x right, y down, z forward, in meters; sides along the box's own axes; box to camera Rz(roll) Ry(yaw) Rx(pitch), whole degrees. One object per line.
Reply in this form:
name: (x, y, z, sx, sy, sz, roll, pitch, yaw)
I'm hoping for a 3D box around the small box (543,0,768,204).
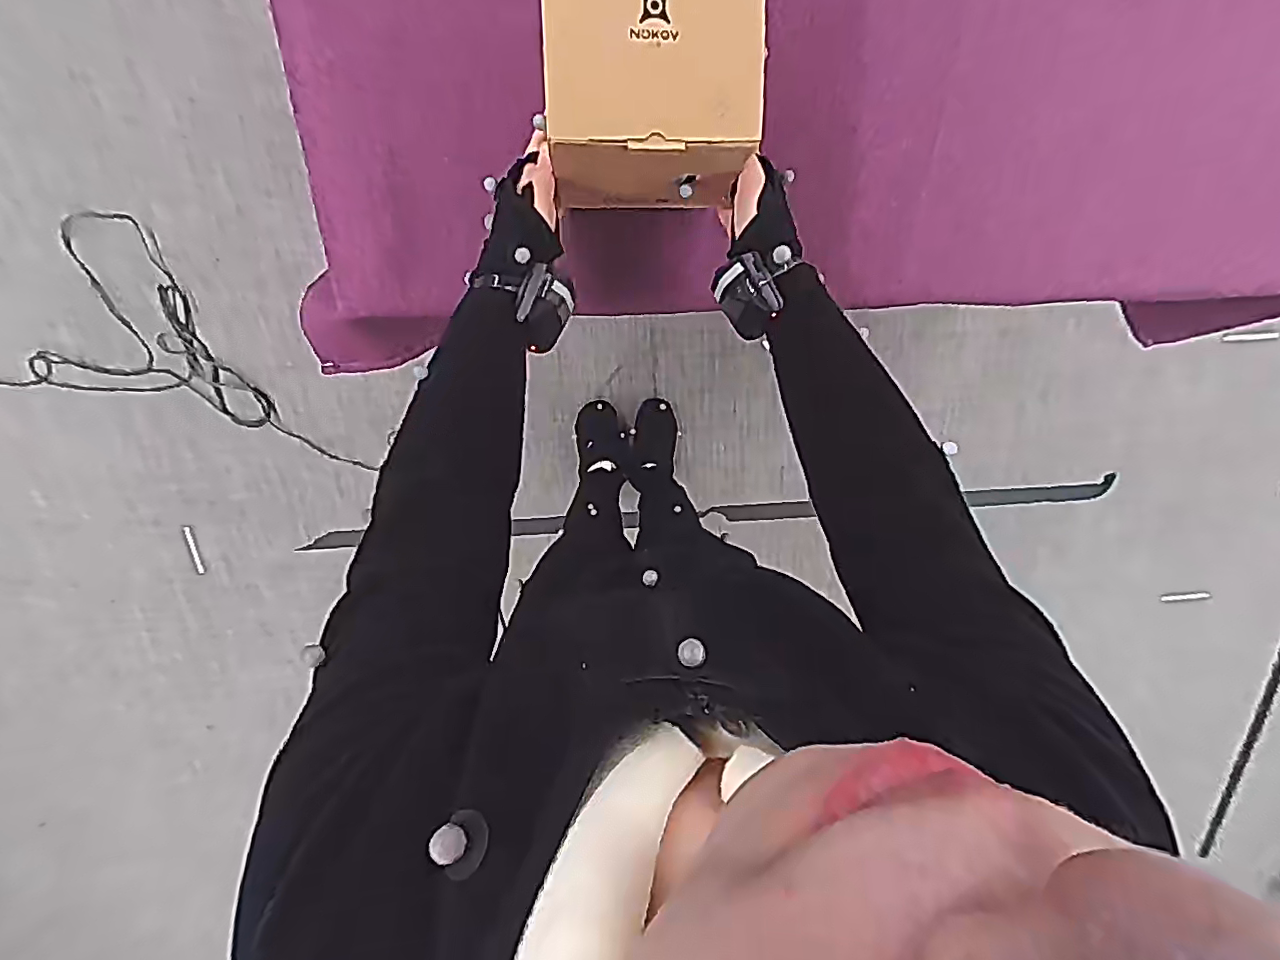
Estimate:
small box: (0.006, -0.353, 0.468, 0.168, 0.176, 0.179, -2, 102, -5)
